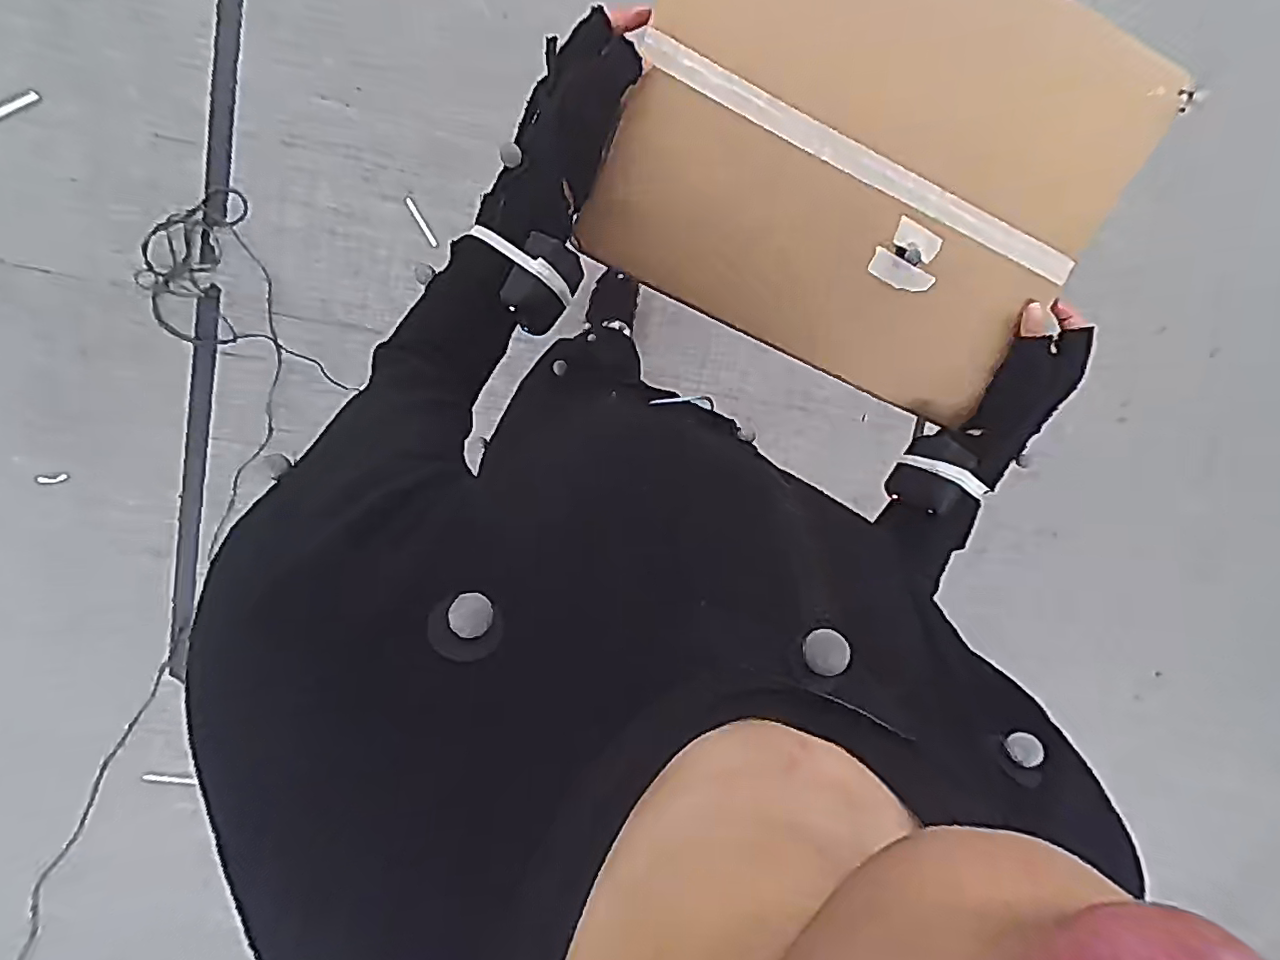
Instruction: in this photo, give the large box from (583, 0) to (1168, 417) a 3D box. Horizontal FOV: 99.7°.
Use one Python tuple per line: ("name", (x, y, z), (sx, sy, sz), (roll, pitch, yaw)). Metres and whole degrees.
("large box", (0.185, -0.316, 0.594), (0.408, 0.320, 0.320), (23, 110, -9))
